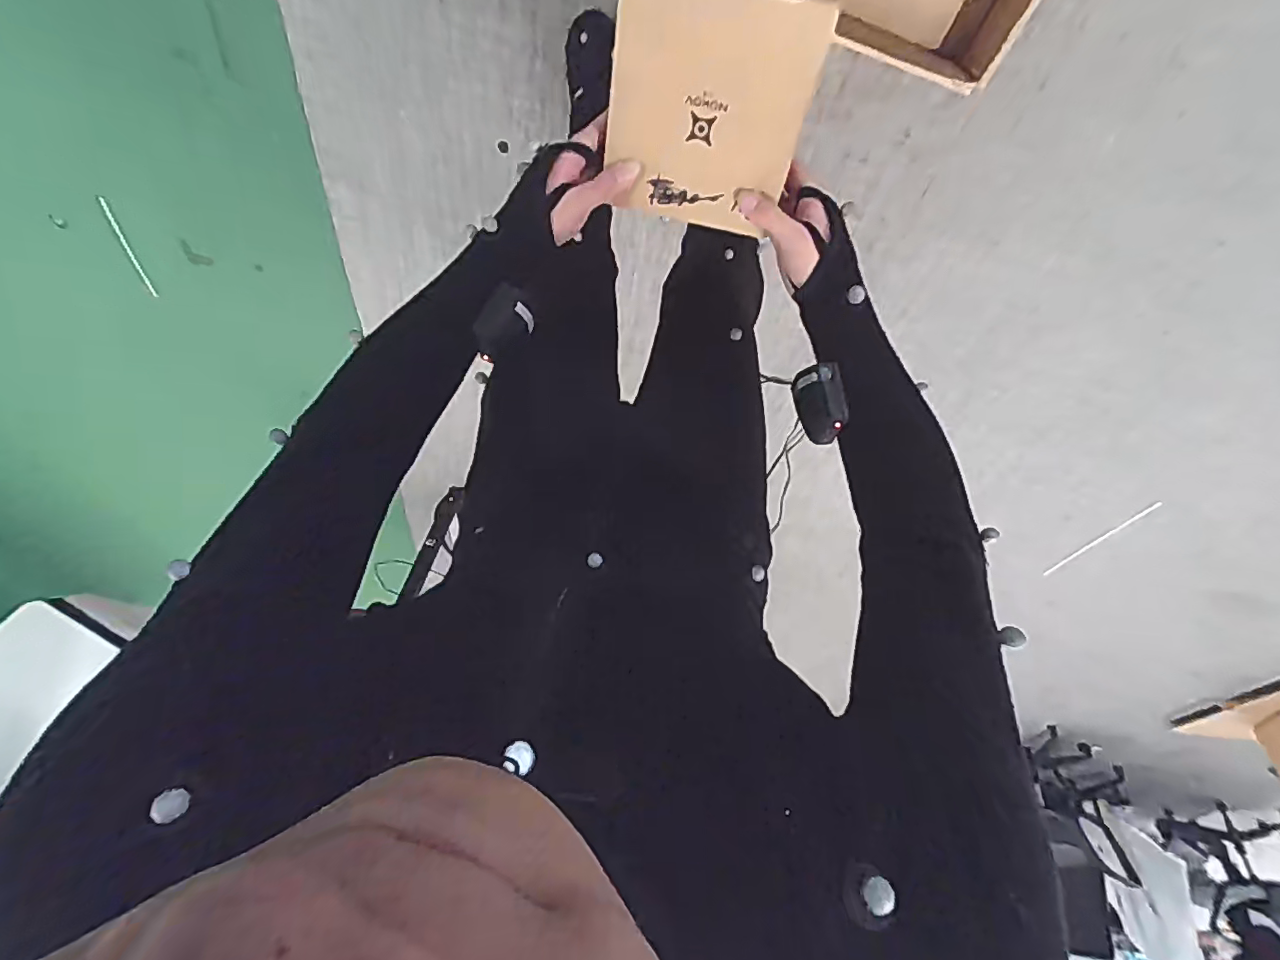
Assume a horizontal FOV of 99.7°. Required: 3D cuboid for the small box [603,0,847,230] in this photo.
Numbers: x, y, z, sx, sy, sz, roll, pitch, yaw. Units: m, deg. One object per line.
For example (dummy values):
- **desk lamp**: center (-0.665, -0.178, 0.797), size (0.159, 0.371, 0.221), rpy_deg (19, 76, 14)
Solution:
- **small box**: center (0.069, -0.369, 0.503), size (0.168, 0.176, 0.179), rpy_deg (13, 137, -1)
